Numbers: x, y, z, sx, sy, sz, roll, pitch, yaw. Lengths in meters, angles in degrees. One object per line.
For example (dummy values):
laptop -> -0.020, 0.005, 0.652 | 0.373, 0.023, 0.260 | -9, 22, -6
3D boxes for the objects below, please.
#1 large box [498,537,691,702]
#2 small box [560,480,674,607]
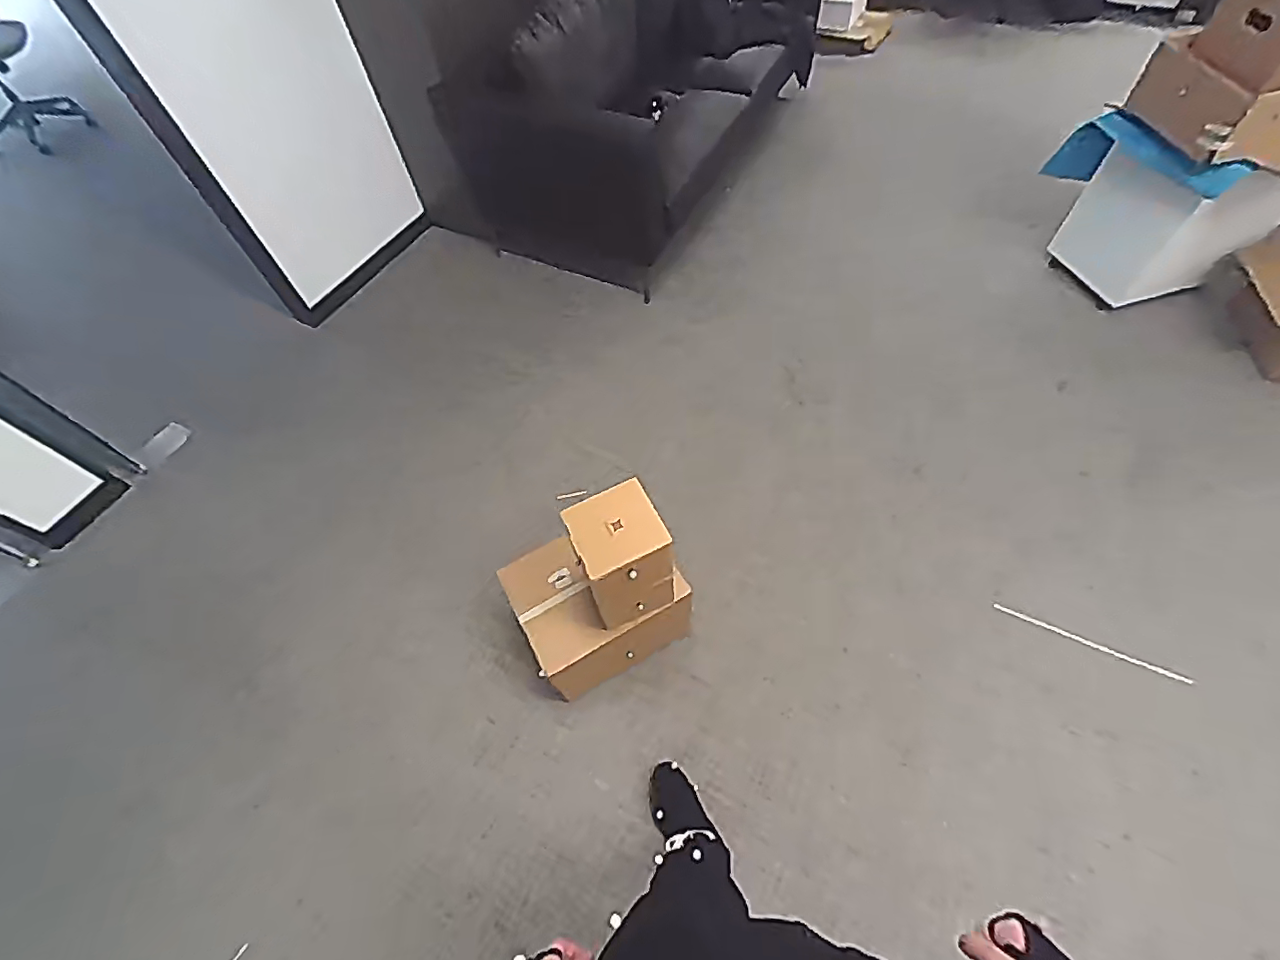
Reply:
large box -> -0.109, 0.338, 1.473 | 0.408, 0.320, 0.320 | -29, 59, -12
small box -> -0.044, 0.134, 1.114 | 0.179, 0.176, 0.168 | -25, 61, -10
